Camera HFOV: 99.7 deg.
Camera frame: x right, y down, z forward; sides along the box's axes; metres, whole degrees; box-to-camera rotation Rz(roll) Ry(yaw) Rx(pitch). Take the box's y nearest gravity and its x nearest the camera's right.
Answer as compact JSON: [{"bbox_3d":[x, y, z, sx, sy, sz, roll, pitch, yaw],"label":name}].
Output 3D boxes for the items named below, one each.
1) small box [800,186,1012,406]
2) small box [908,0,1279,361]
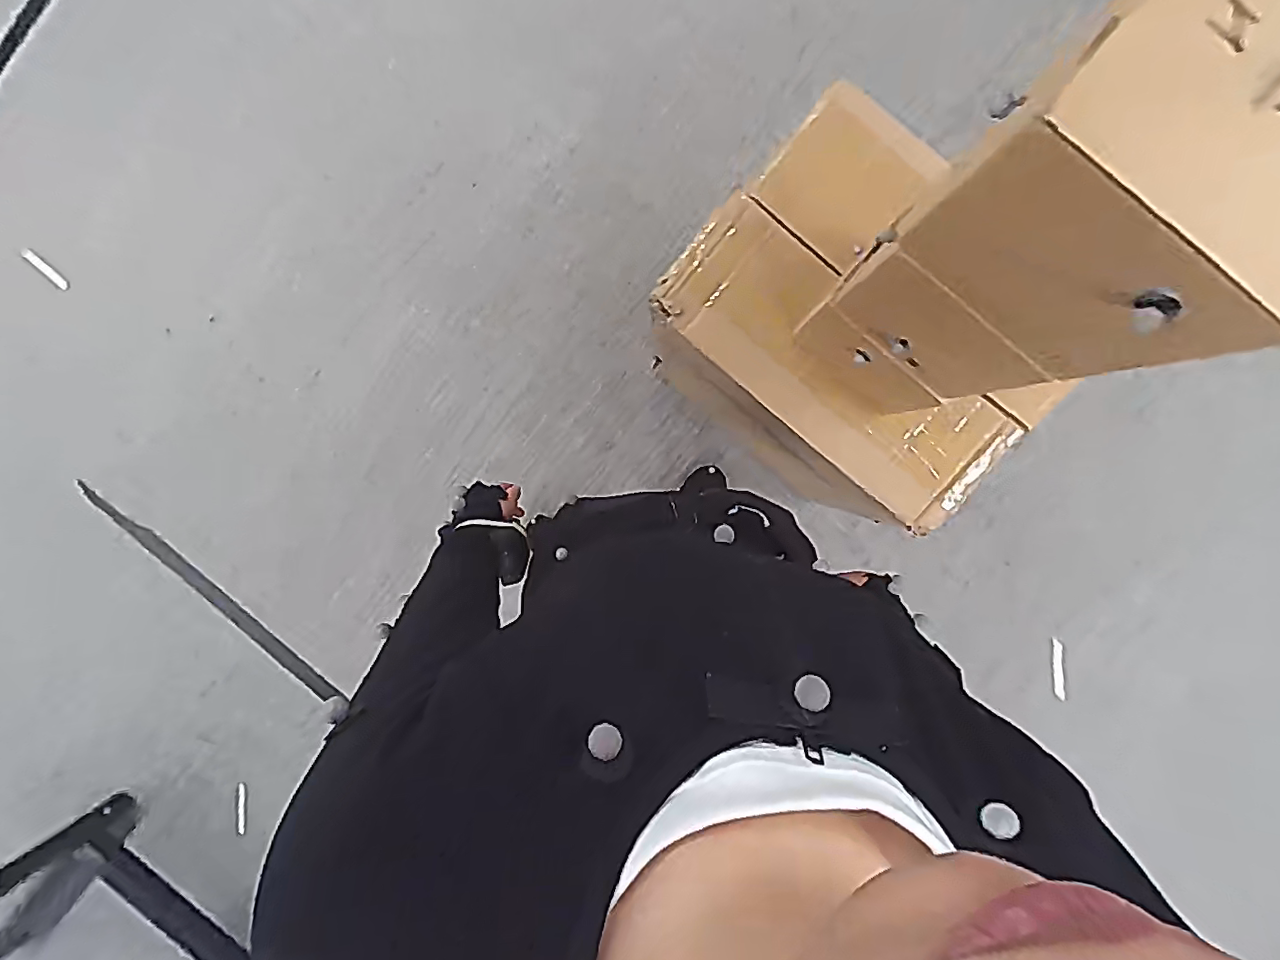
[{"bbox_3d":[0.326,-0.205,0.664,0.179,0.176,0.168,41,94,0],"label":"small box"},{"bbox_3d":[0.315,-0.192,0.335,0.179,0.176,0.168,41,94,0],"label":"small box"}]
